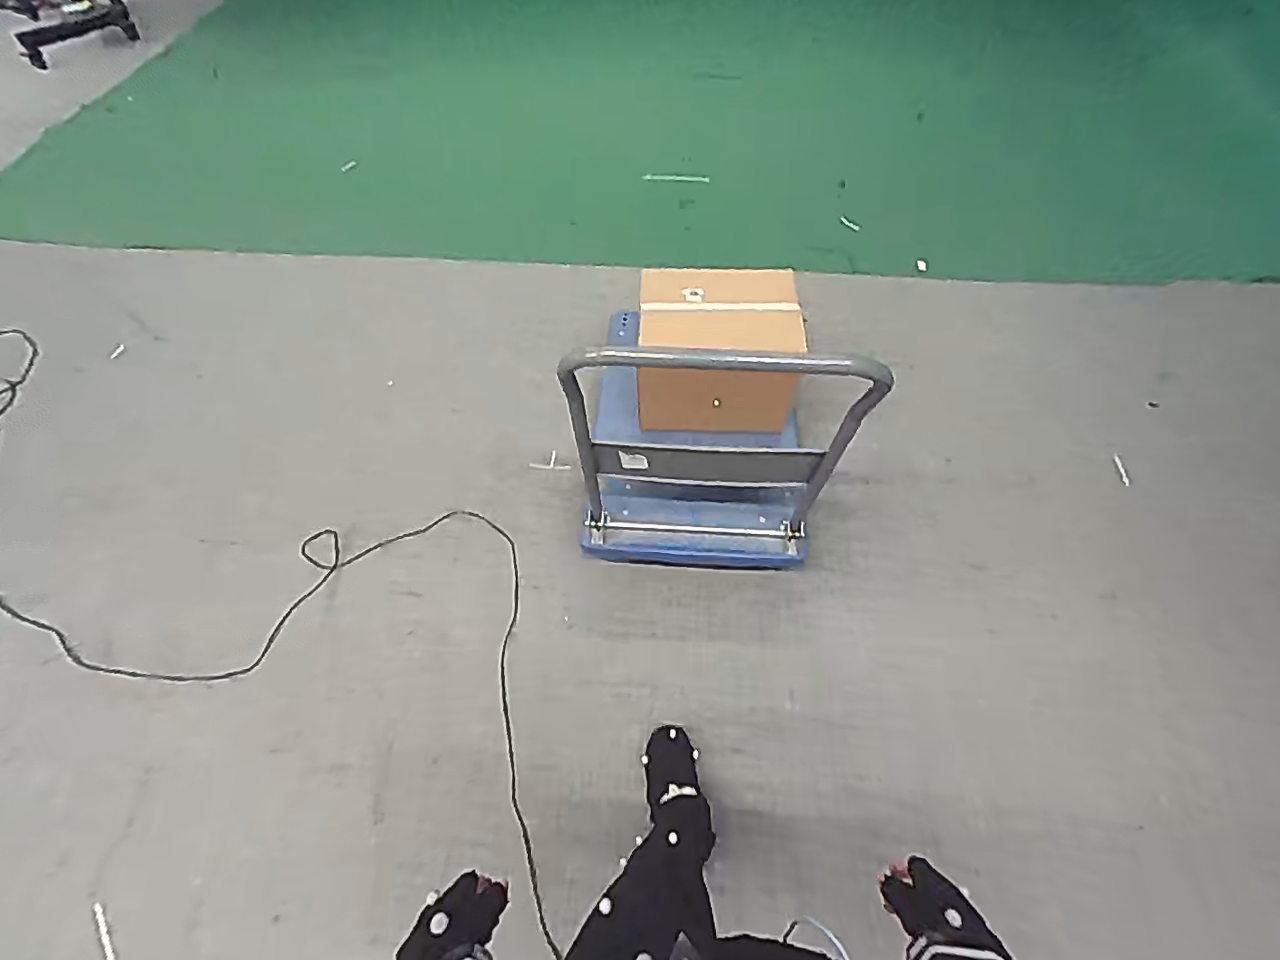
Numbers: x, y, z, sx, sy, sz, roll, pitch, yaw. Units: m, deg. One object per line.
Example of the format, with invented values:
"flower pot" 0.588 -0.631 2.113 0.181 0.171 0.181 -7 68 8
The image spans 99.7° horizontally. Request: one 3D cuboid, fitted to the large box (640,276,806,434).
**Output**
"large box" 0.208 -0.338 1.500 0.408 0.320 0.320 0 57 2
